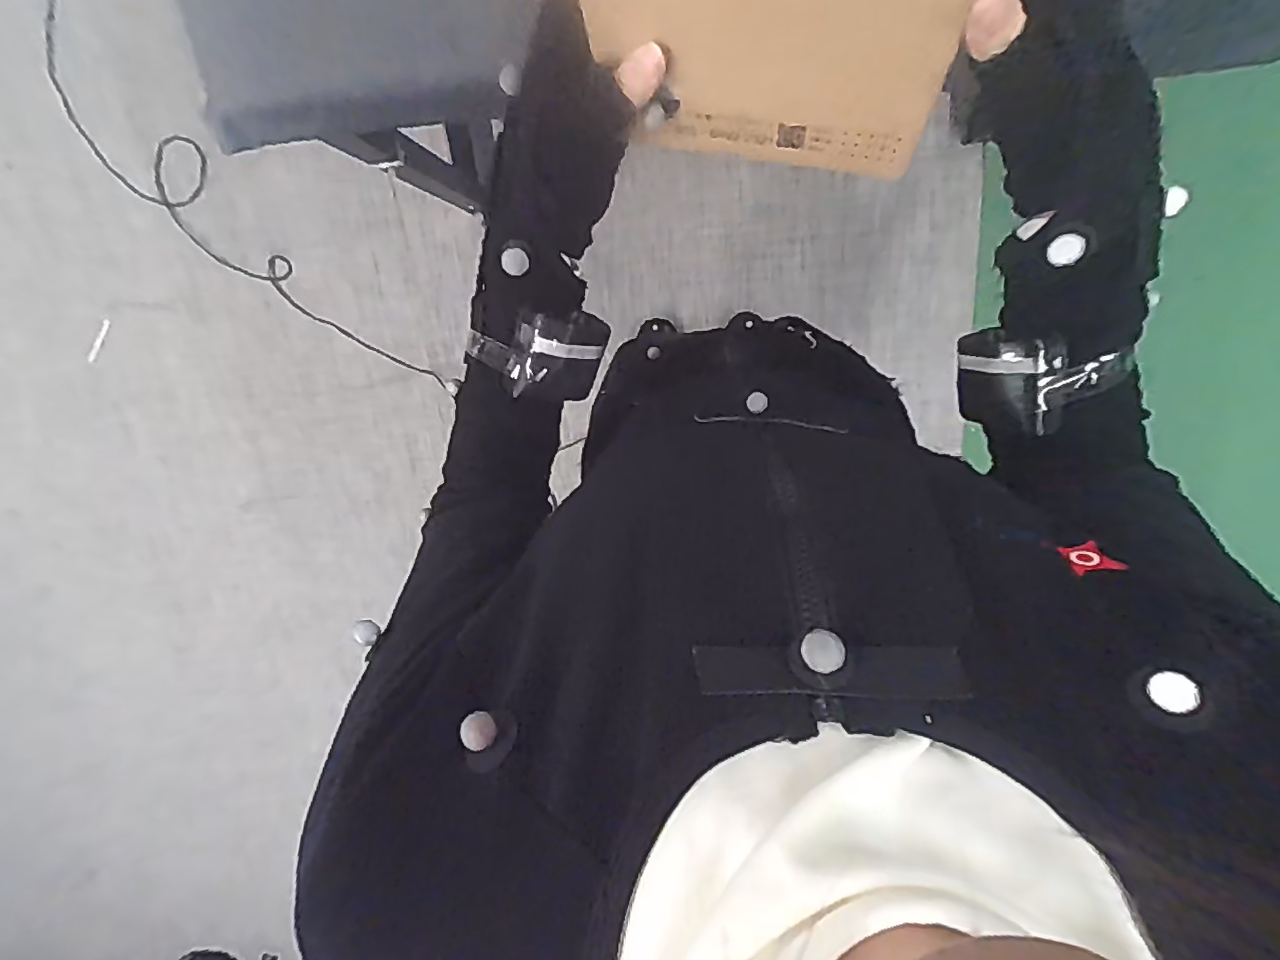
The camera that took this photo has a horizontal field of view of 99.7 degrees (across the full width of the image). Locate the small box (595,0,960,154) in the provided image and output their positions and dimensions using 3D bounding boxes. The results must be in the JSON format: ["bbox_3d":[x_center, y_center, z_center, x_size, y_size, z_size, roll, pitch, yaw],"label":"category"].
[{"bbox_3d":[0.074,-0.285,0.240,0.168,0.176,0.179,16,80,11],"label":"small box"}]
